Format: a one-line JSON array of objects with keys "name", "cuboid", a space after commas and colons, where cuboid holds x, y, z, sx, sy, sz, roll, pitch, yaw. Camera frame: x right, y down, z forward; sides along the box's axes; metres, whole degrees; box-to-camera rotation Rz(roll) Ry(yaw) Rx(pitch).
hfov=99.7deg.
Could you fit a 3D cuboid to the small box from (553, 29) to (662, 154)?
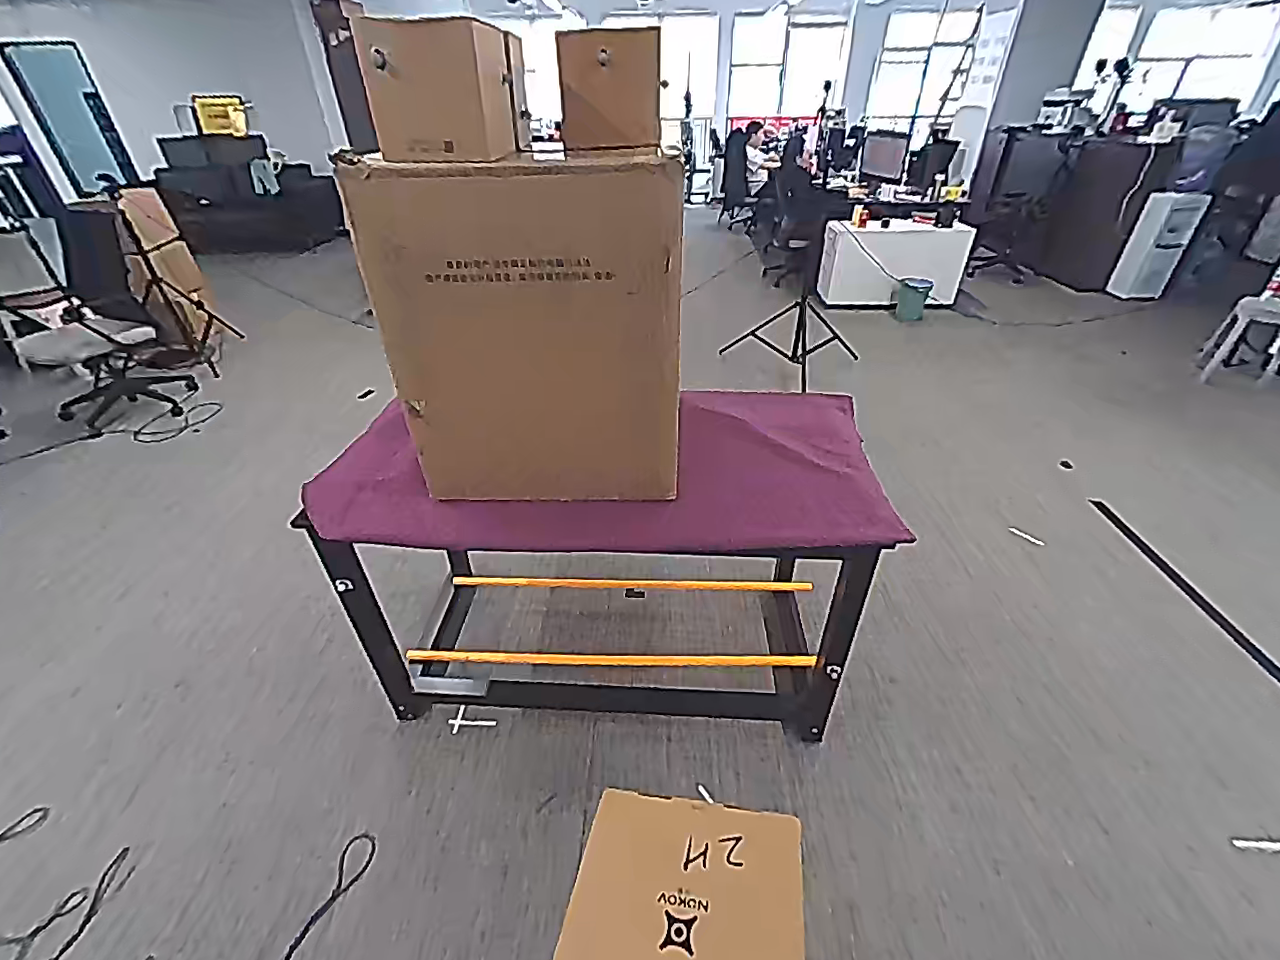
[{"name": "small box", "cuboid": [-0.050, -0.698, 0.978, 0.179, 0.176, 0.168, -2, 35, 2]}]
